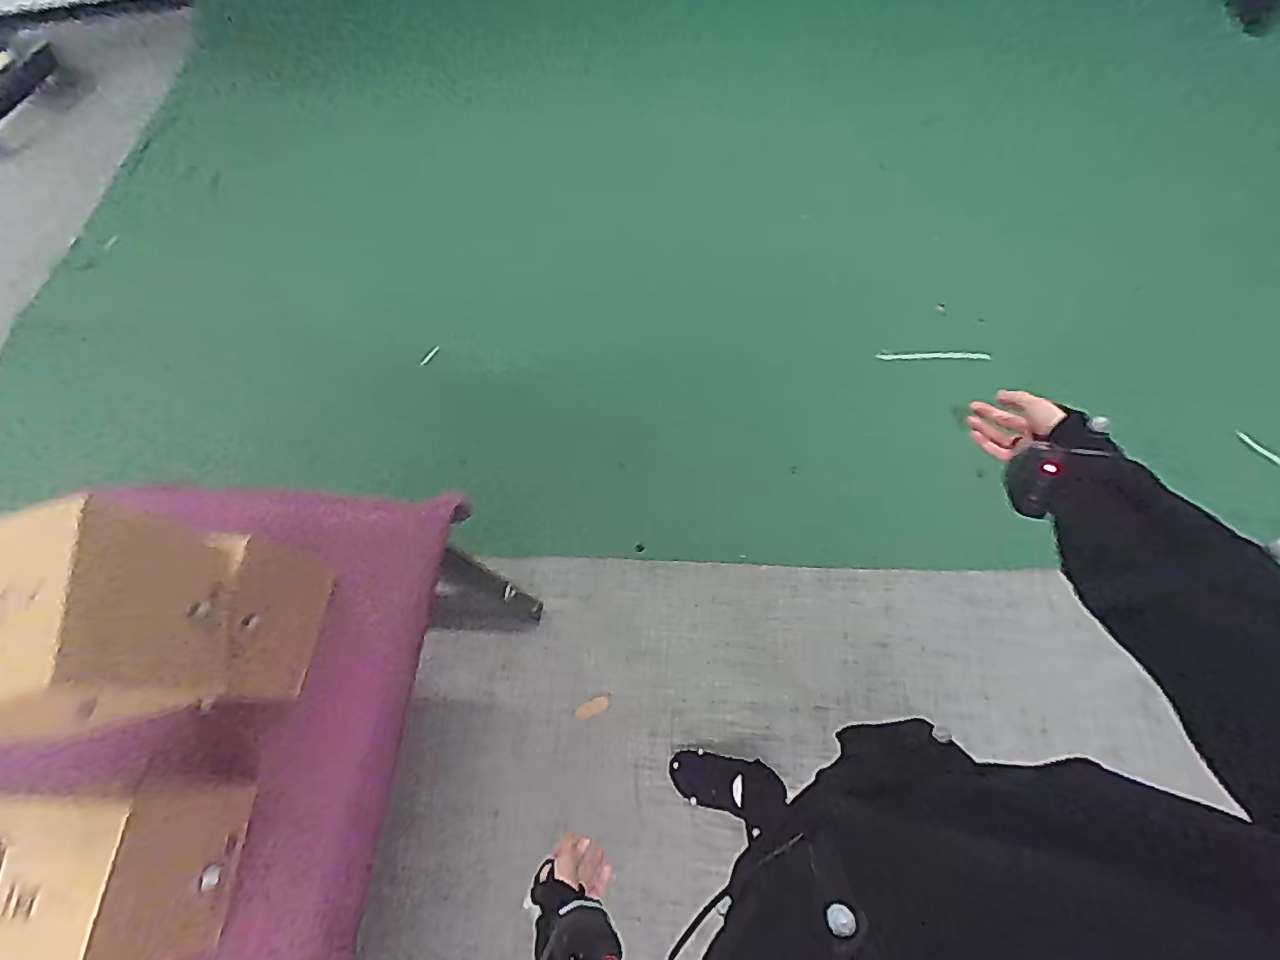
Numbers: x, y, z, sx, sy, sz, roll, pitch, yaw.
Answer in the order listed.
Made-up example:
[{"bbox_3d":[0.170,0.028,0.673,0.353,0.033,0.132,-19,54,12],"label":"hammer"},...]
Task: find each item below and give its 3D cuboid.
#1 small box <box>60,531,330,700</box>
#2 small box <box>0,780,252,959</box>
[{"bbox_3d":[-0.530,0.175,0.676,0.168,0.176,0.179,3,67,9],"label":"small box"},{"bbox_3d":[-0.573,0.423,0.574,0.179,0.176,0.168,-2,67,6],"label":"small box"}]
